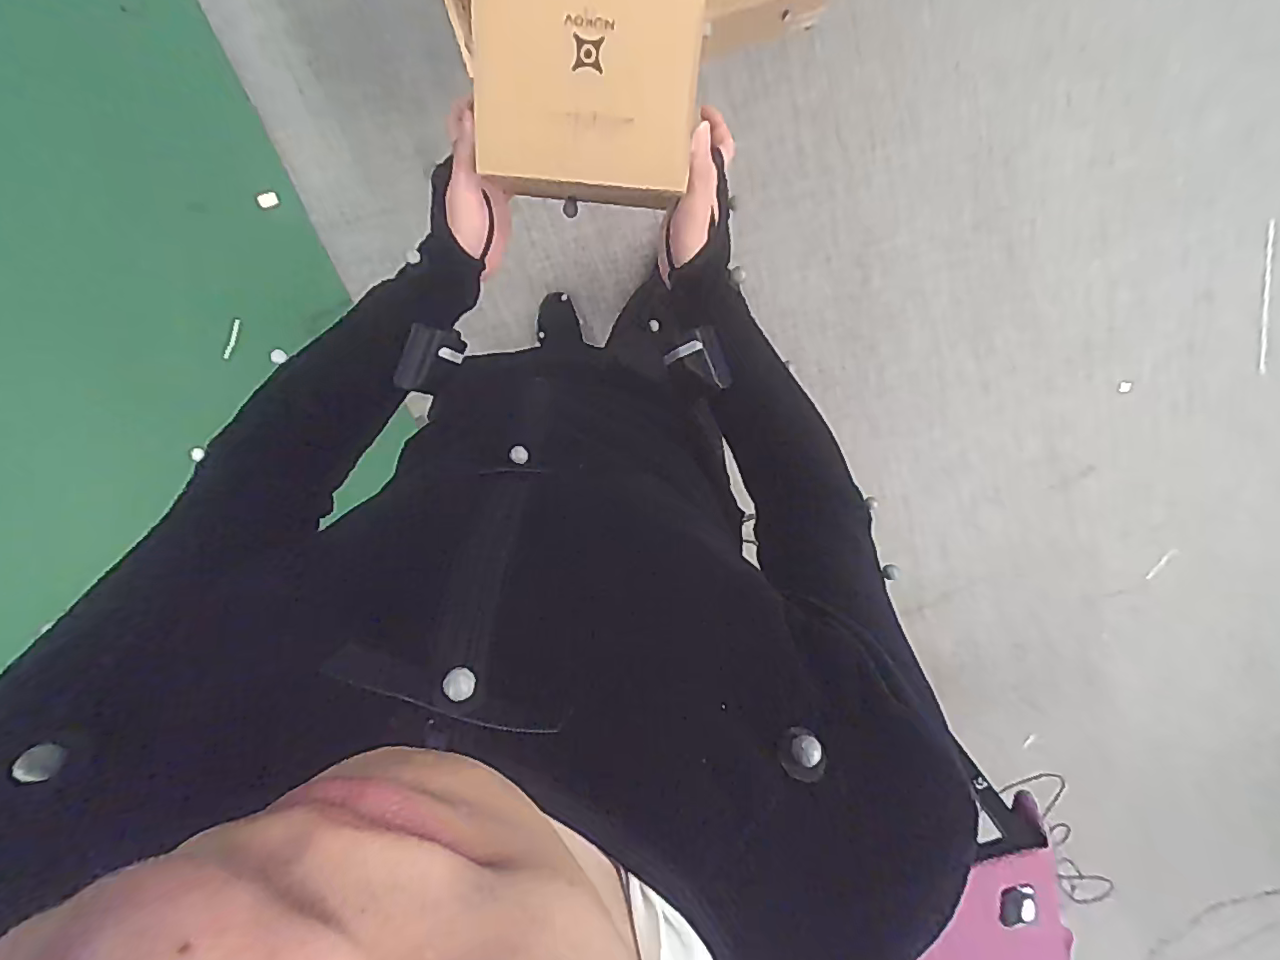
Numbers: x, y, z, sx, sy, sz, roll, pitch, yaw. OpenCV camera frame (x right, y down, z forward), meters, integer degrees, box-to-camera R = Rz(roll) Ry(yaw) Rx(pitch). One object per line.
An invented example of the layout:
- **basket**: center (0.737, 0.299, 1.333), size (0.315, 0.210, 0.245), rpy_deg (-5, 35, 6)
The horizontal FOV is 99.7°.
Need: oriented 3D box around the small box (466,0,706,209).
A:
- **small box**: center (-0.043, -0.339, 0.452), size (0.168, 0.176, 0.179), rpy_deg (3, 112, -4)
